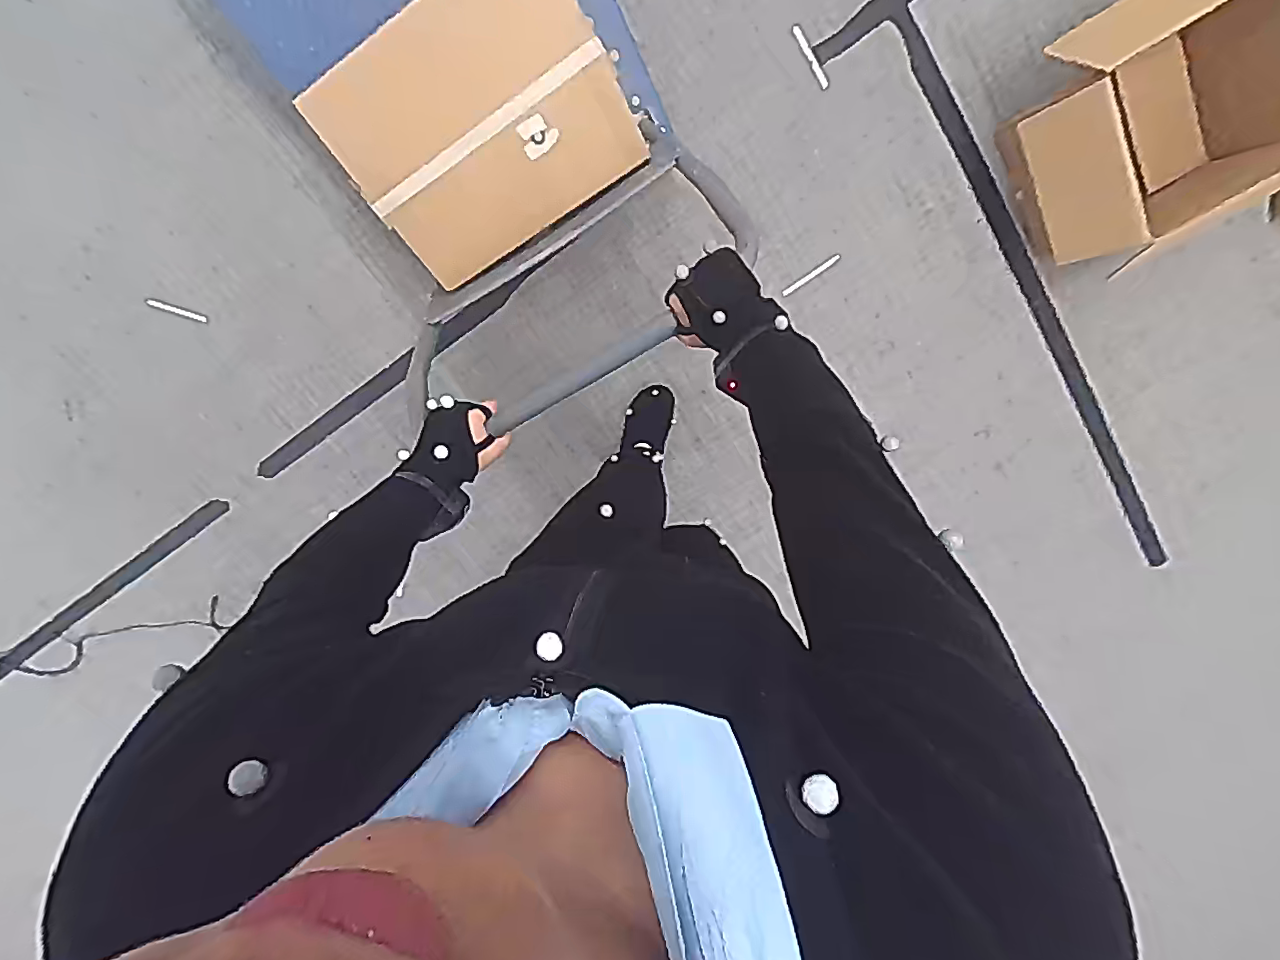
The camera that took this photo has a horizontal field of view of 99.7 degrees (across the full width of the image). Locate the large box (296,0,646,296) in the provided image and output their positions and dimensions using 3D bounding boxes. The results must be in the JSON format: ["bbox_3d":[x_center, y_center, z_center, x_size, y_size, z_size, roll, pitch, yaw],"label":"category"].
[{"bbox_3d":[-0.253,-0.586,0.900,0.408,0.320,0.320,-29,127,11],"label":"large box"}]
